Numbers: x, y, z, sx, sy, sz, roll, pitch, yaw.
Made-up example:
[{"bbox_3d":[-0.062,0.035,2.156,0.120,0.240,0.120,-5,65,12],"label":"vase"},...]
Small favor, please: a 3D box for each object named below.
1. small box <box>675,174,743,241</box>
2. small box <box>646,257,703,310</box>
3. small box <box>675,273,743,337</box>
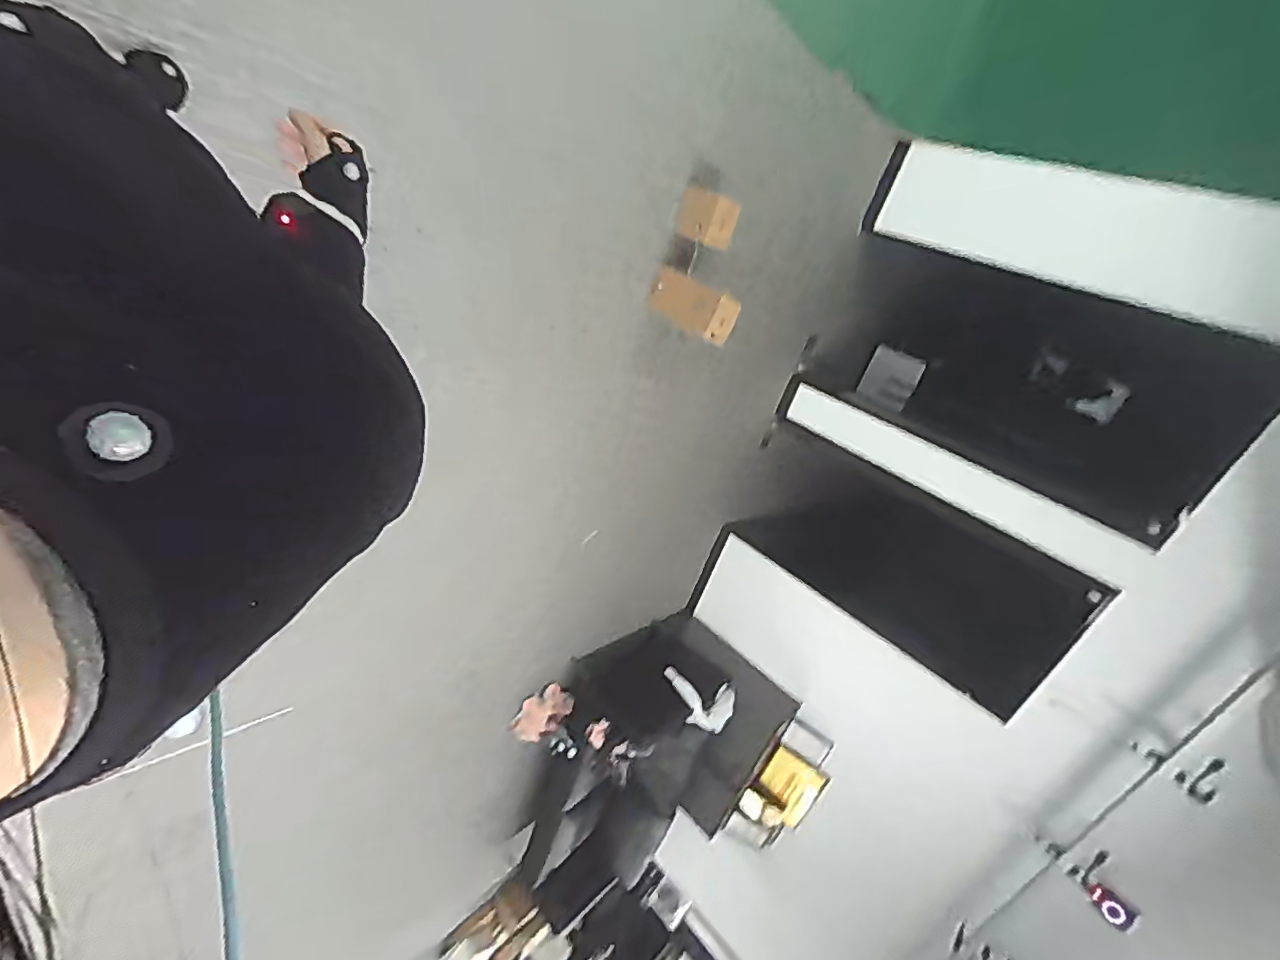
[{"bbox_3d":[0.258,-1.045,2.076,0.168,0.176,0.179,-11,128,-48],"label":"small box"},{"bbox_3d":[0.159,-0.783,2.198,0.179,0.176,0.168,2,118,-53],"label":"small box"},{"bbox_3d":[0.266,-0.687,2.115,0.168,0.176,0.179,2,117,-54],"label":"small box"}]
